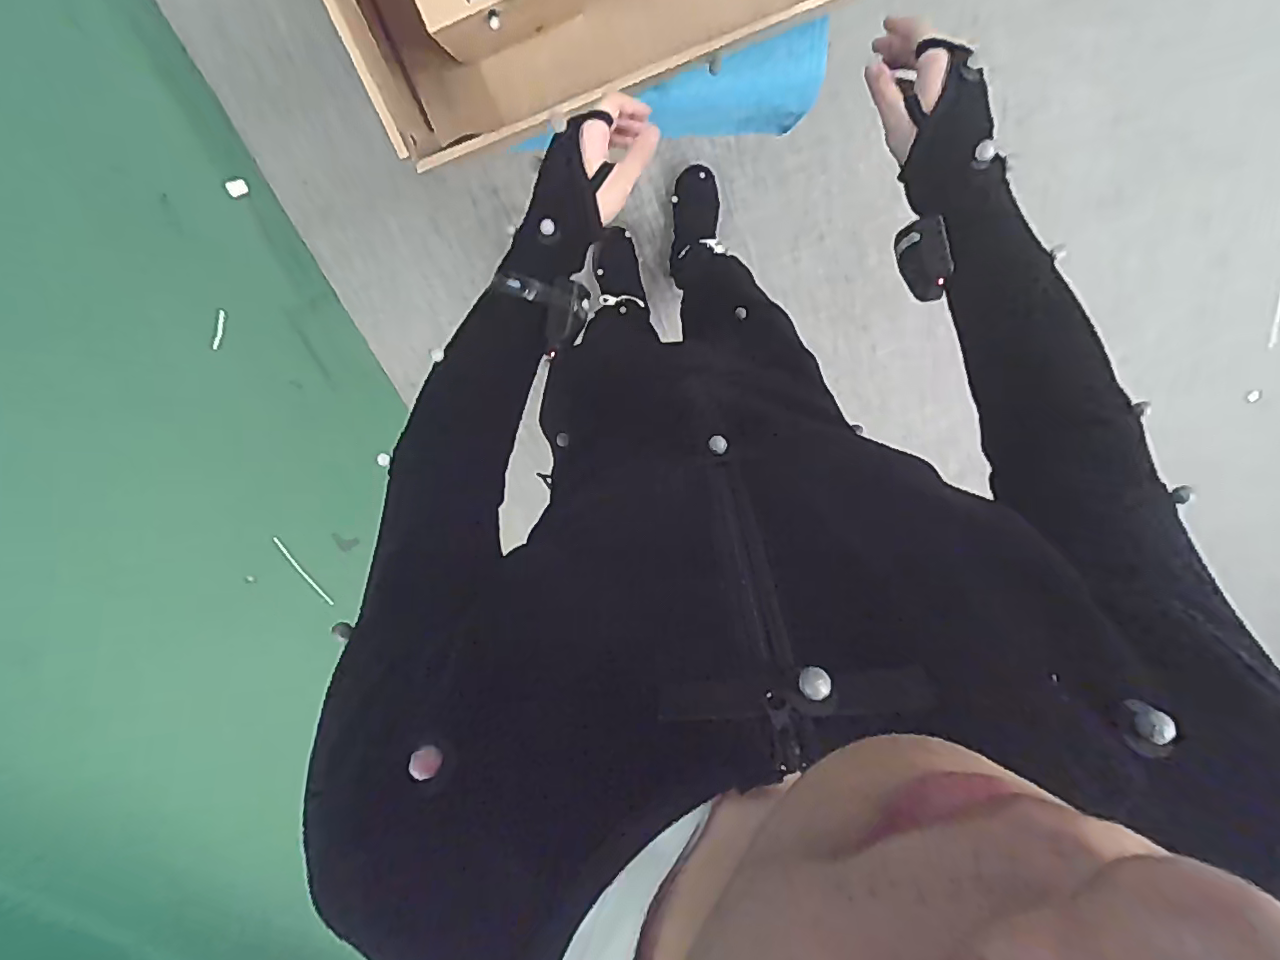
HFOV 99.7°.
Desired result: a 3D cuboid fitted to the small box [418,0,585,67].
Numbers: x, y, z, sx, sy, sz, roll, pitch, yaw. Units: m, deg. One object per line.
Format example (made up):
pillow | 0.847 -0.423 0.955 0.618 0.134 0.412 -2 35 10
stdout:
small box | -0.164 -0.579 0.566 0.168 0.176 0.179 -18 117 6
